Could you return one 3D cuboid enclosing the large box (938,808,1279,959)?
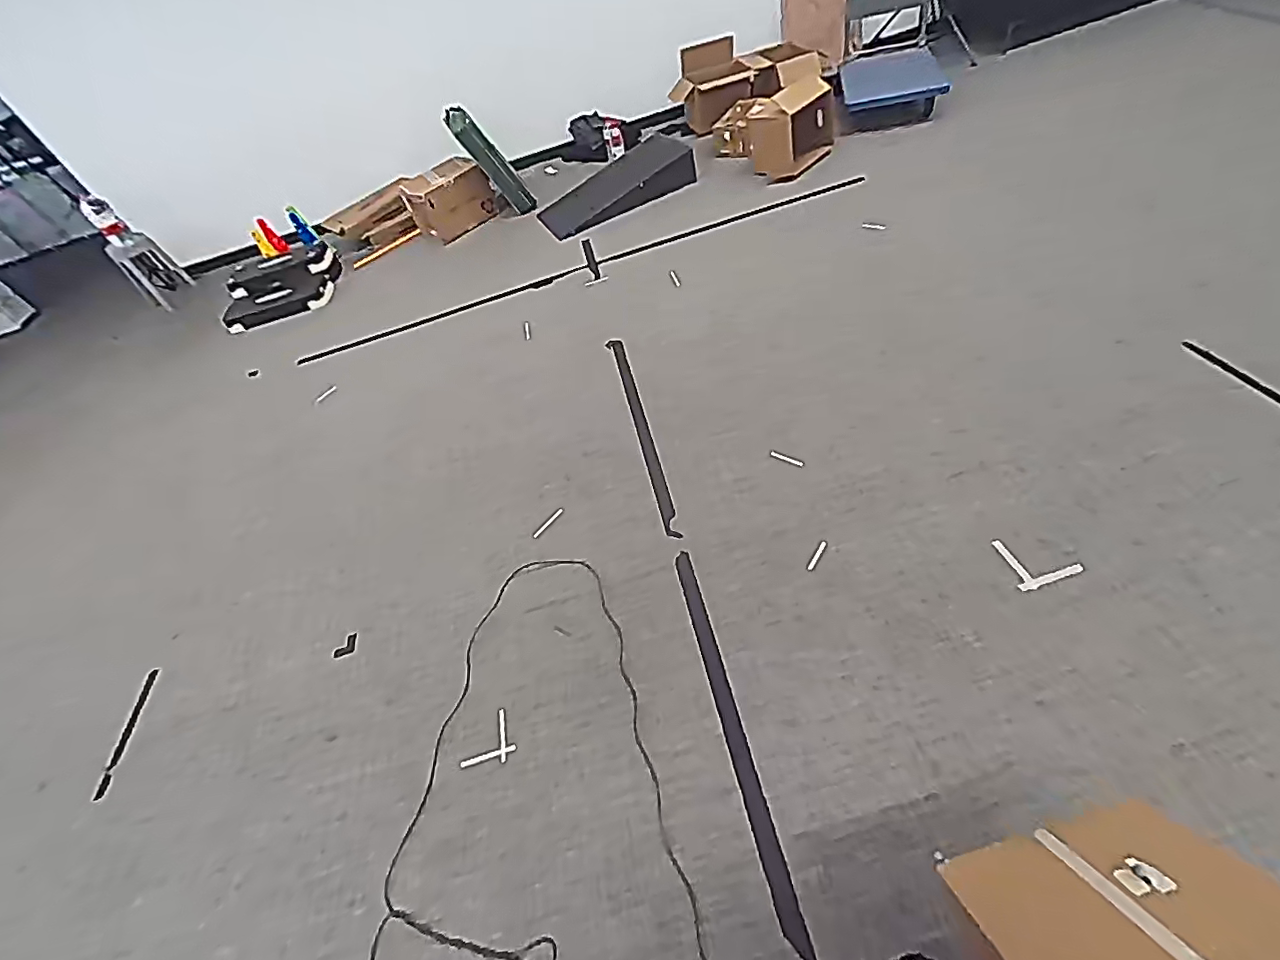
[{"bbox_3d":[0.623,0.652,0.584,0.320,0.408,0.320,-19,83,2],"label":"large box"}]
